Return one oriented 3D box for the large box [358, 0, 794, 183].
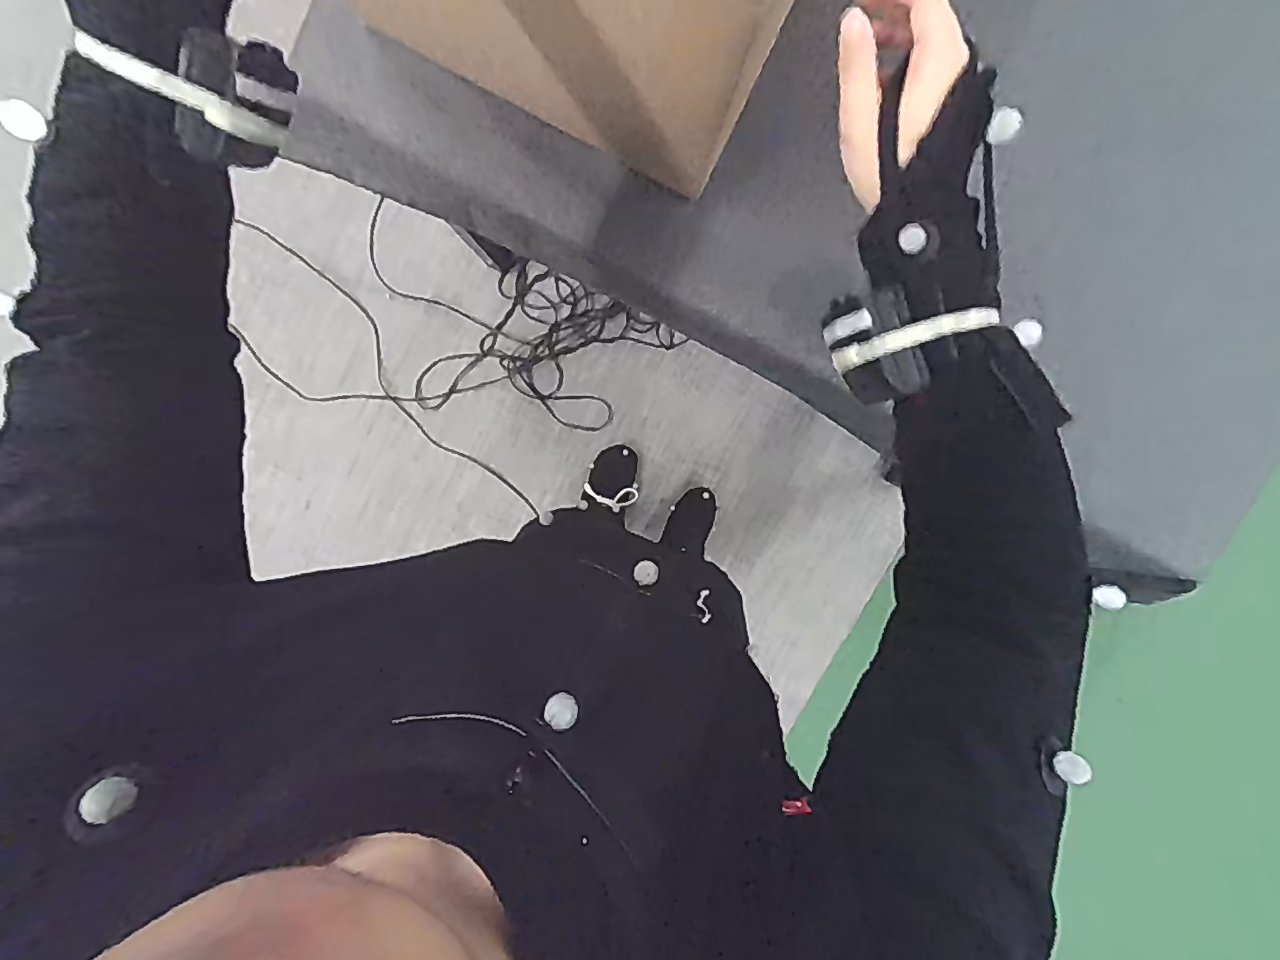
[{"bbox_3d":[-0.037,-0.520,0.417,0.408,0.320,0.320,25,96,-6],"label":"large box"}]
